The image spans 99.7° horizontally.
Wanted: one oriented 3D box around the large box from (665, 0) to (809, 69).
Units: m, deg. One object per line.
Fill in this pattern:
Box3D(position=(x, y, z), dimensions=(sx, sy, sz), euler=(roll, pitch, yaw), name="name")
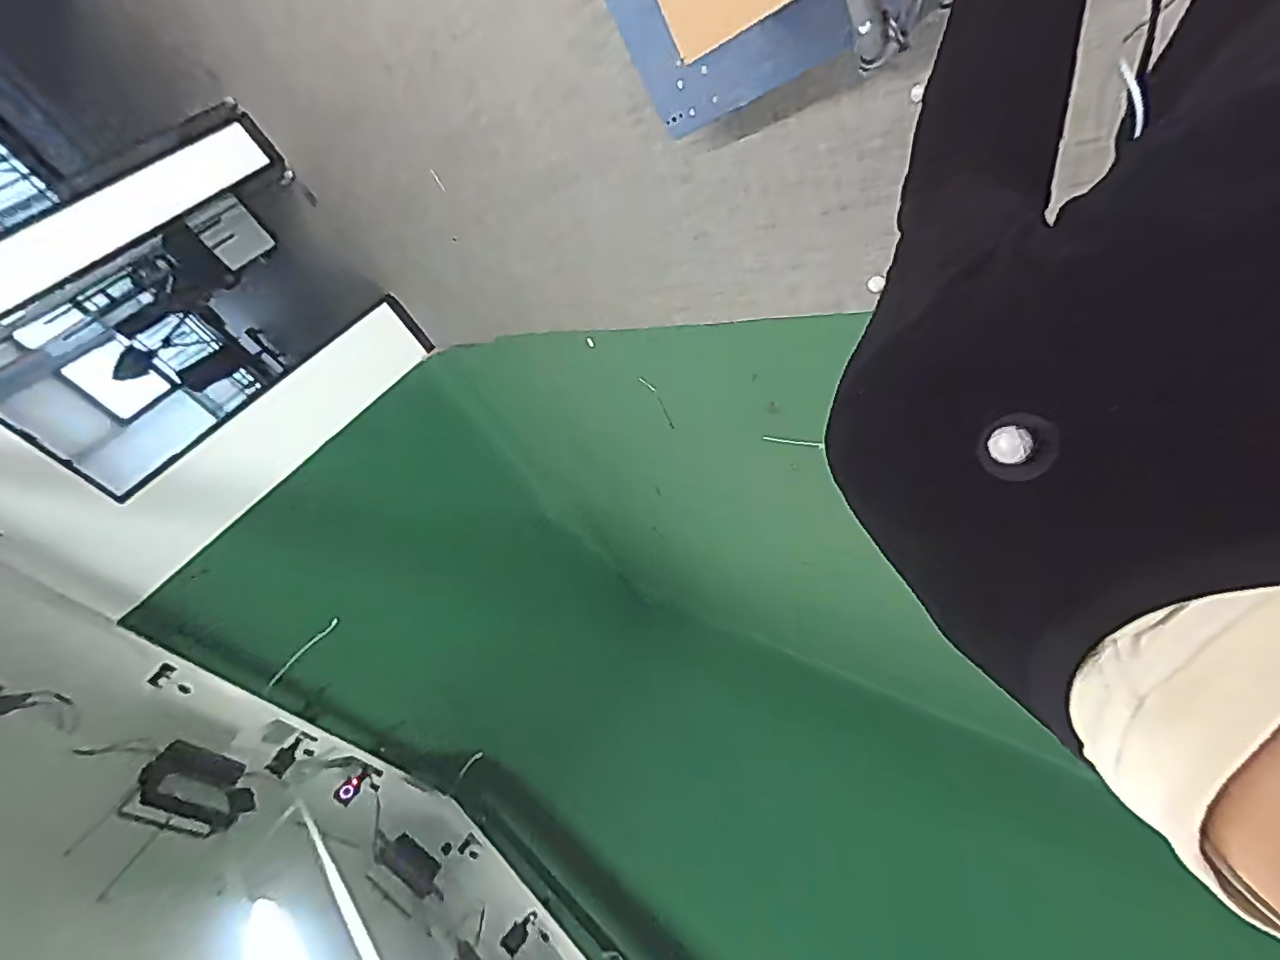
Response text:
Box3D(position=(0.248, -0.996, 0.892), dimensions=(0.408, 0.320, 0.320), euler=(10, 142, 48), name="large box")
